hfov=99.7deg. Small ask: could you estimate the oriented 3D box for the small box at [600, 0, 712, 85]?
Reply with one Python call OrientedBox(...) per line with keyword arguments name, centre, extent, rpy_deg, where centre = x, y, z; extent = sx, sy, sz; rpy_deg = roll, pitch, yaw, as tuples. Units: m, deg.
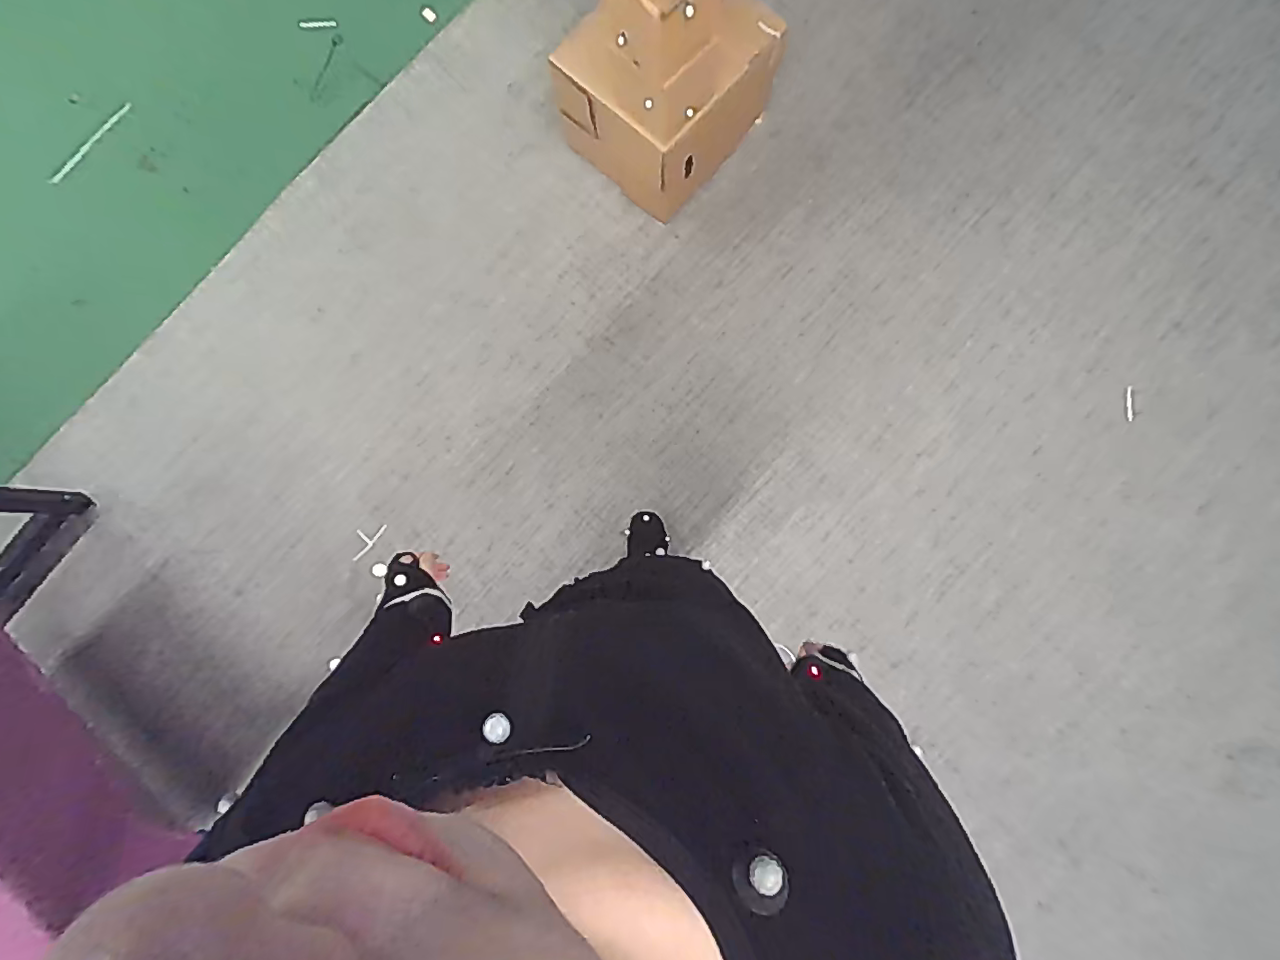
OrientedBox(name="small box", centre=(0.029, -0.949, 1.068), extent=(0.179, 0.176, 0.168), rpy_deg=(-44, 84, -2))
